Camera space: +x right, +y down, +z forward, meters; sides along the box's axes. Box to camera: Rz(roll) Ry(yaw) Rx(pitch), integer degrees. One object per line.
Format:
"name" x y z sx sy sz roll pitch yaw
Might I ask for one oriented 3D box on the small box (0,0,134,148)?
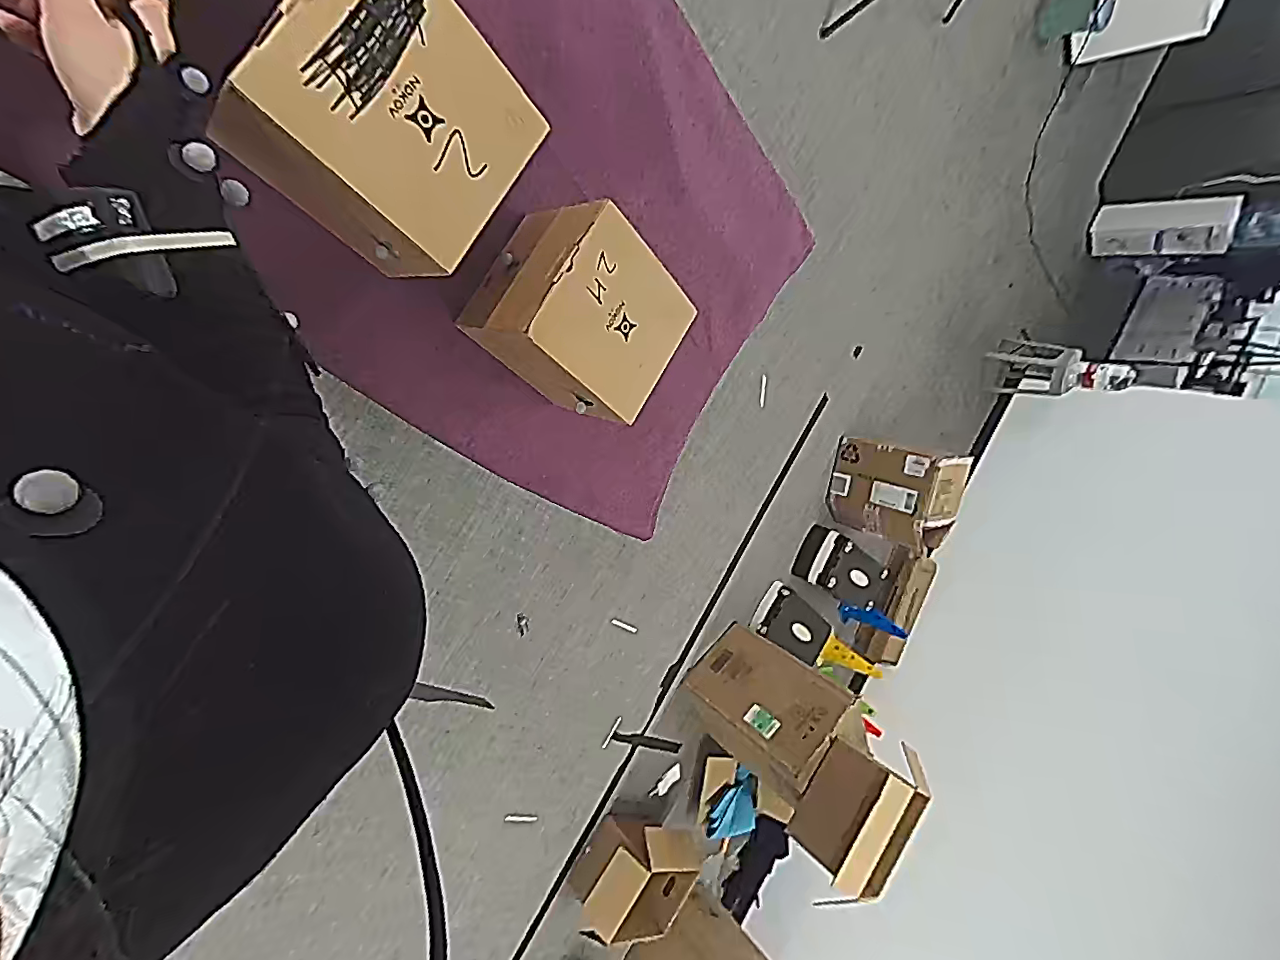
"small box" -0.808 -0.567 0.706 0.179 0.176 0.168 31 87 -43
